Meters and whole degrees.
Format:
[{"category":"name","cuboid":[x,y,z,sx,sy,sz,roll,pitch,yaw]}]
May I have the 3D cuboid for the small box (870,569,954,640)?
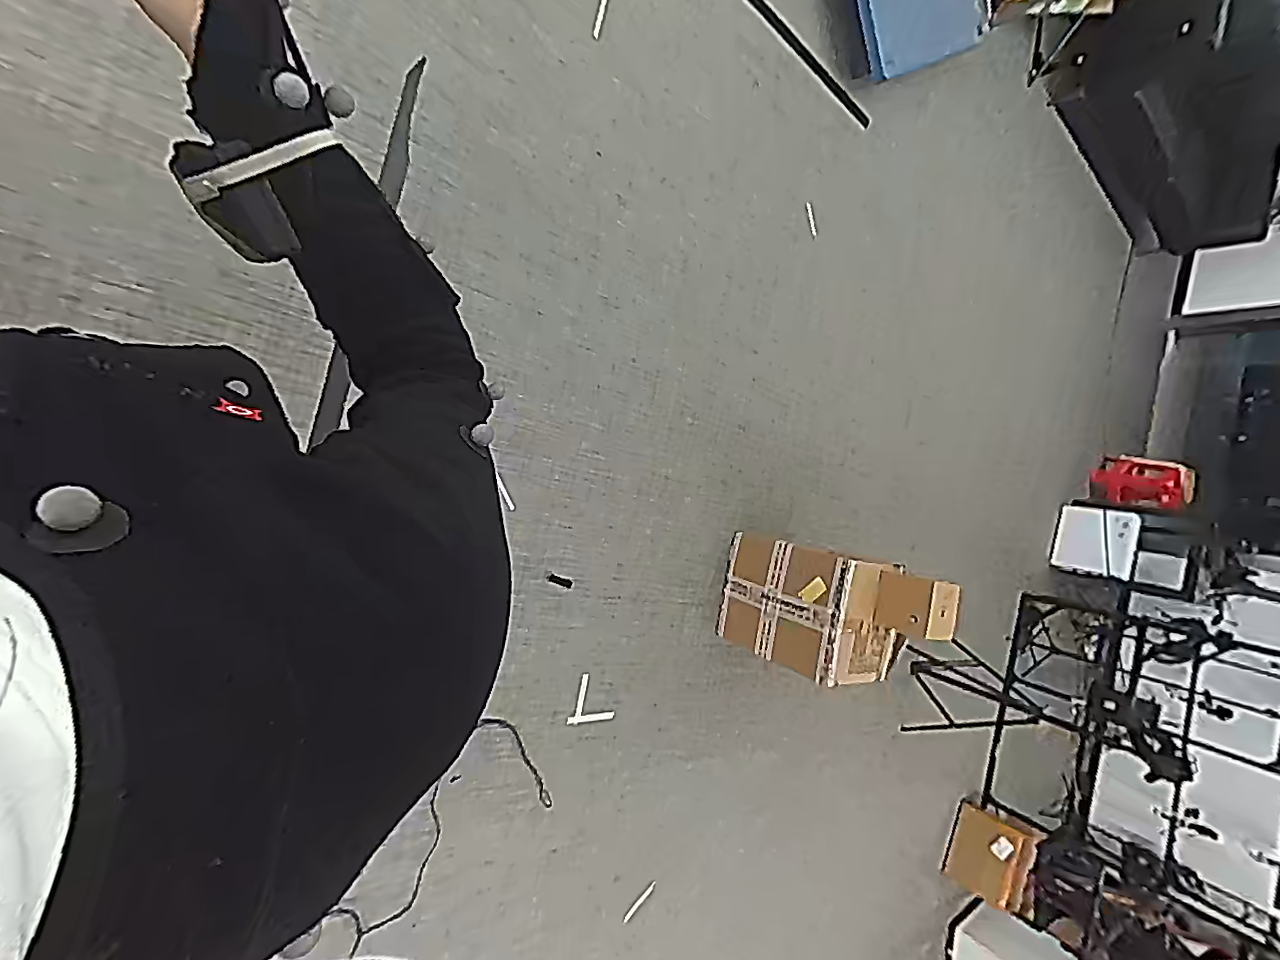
[{"category":"small box","cuboid":[0.848,0.388,1.696,0.168,0.176,0.179,14,85,-35]}]
